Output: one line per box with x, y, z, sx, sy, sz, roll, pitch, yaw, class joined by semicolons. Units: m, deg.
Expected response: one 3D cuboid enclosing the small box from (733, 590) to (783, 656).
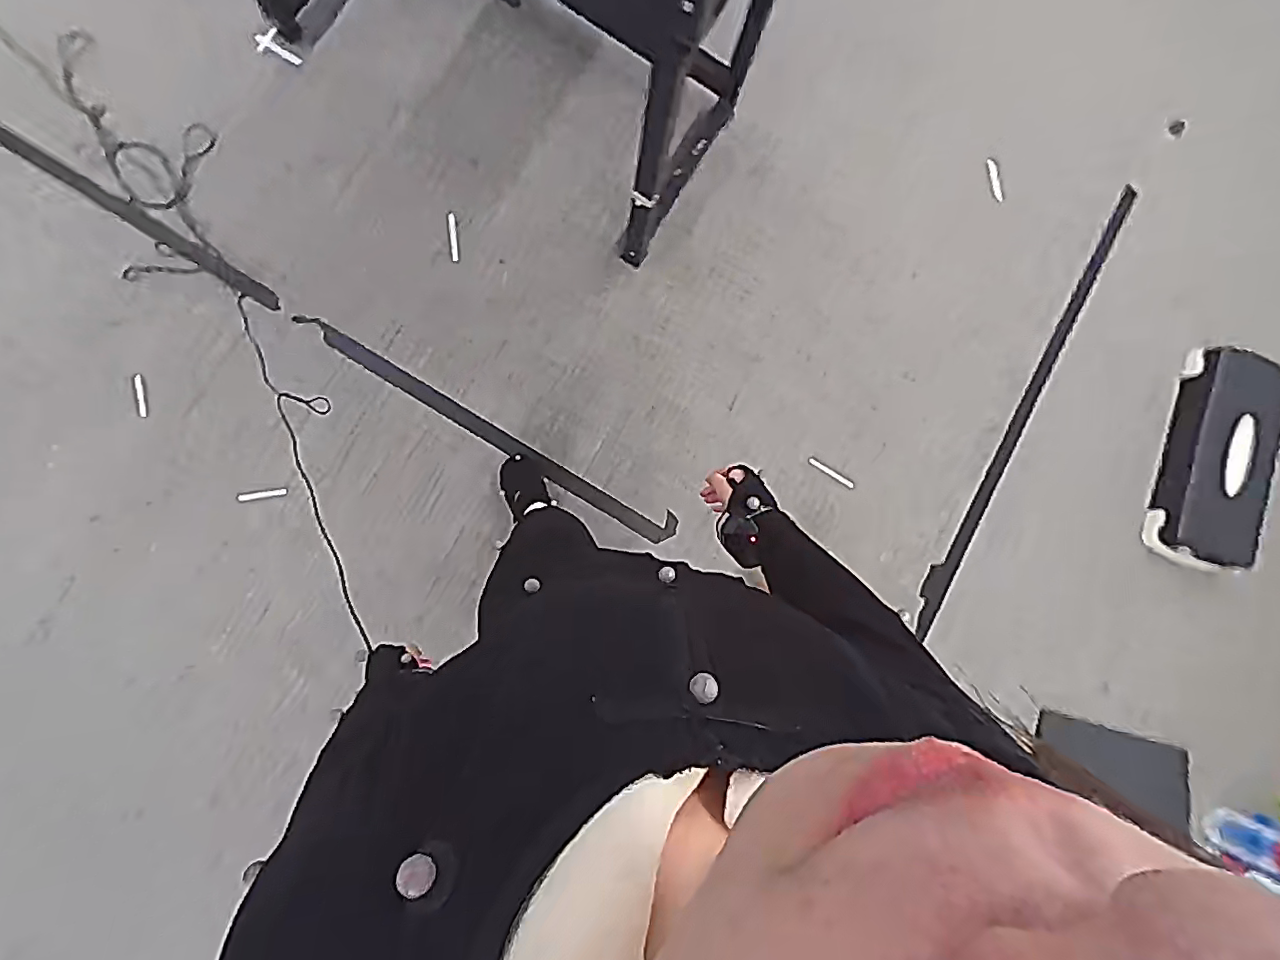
0.373;0.406;1.435;0.179;0.176;0.168;33;84;-3;small box
